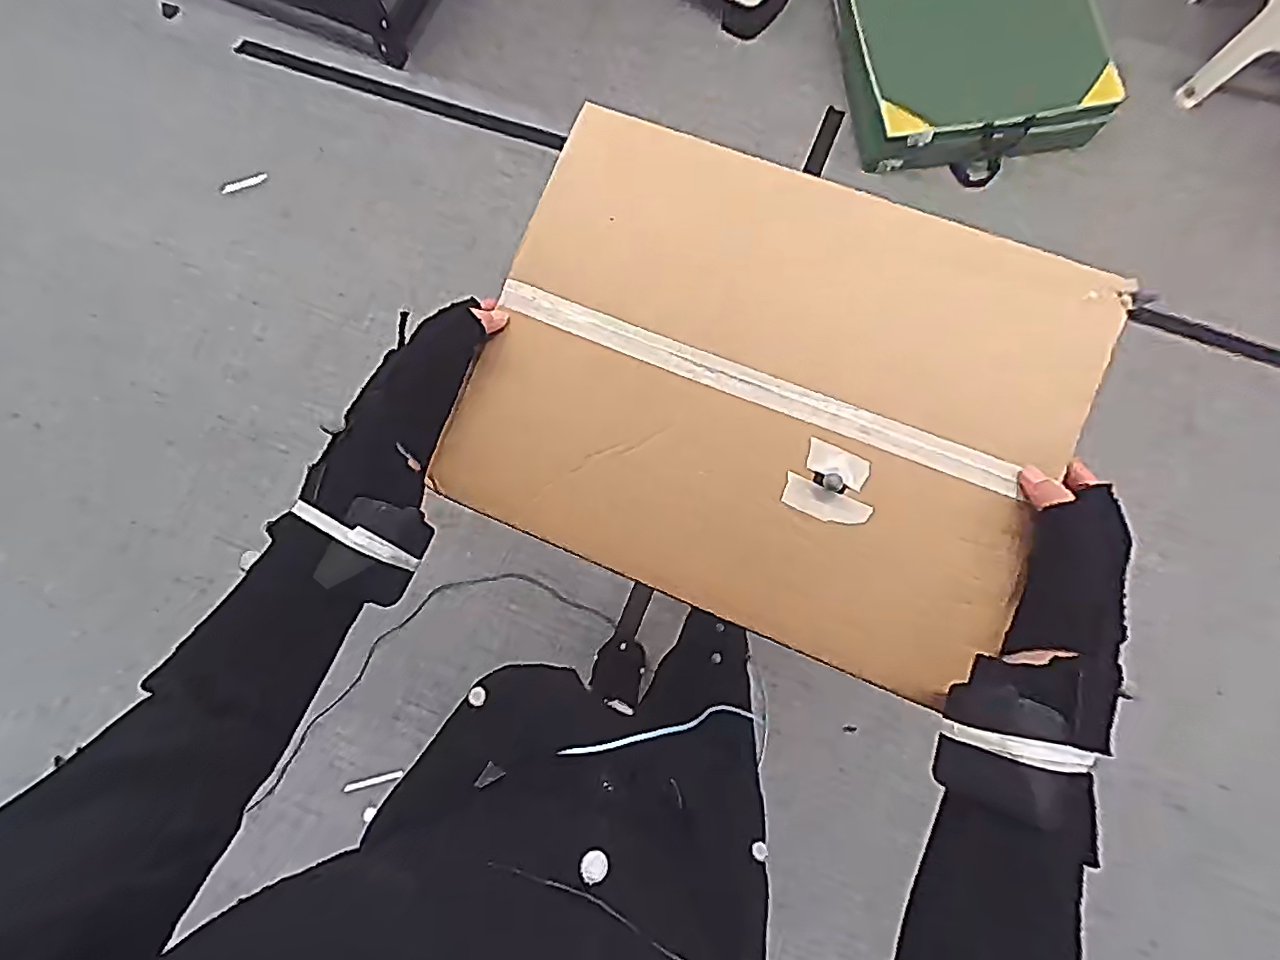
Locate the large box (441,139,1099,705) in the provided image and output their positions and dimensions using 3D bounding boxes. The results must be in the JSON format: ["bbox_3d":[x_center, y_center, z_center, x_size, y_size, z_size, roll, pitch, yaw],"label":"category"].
[{"bbox_3d":[0.096,-0.045,0.541,0.408,0.320,0.320,22,88,6],"label":"large box"}]
